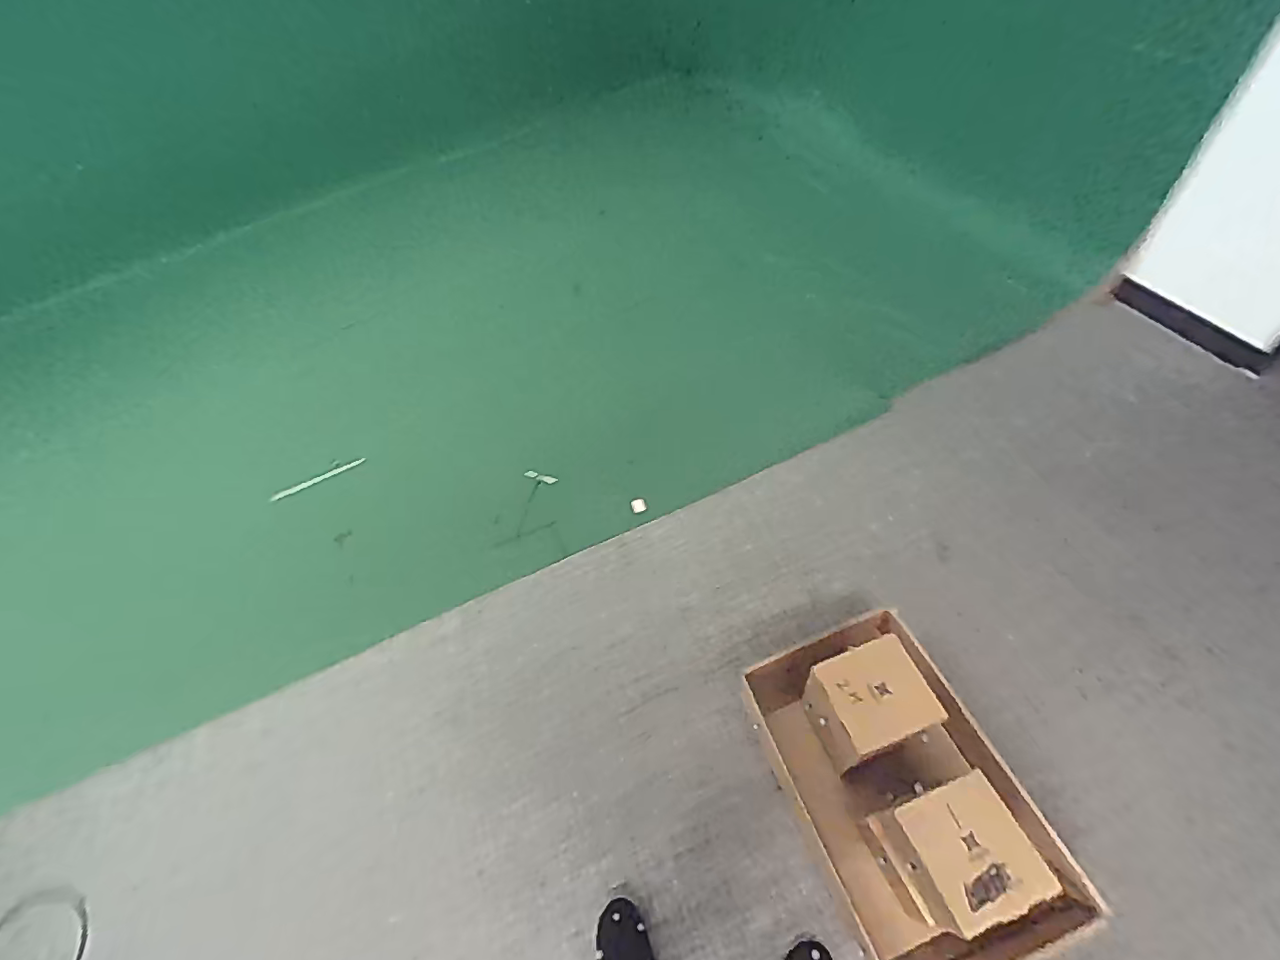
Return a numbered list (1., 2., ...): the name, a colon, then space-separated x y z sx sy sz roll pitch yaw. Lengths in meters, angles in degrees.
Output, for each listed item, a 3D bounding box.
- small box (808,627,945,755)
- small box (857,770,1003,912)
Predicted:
1. small box: 0.446 0.415 1.055 0.179 0.176 0.168 -21 54 -2
2. small box: 0.543 0.697 1.046 0.168 0.176 0.179 -25 52 -4
